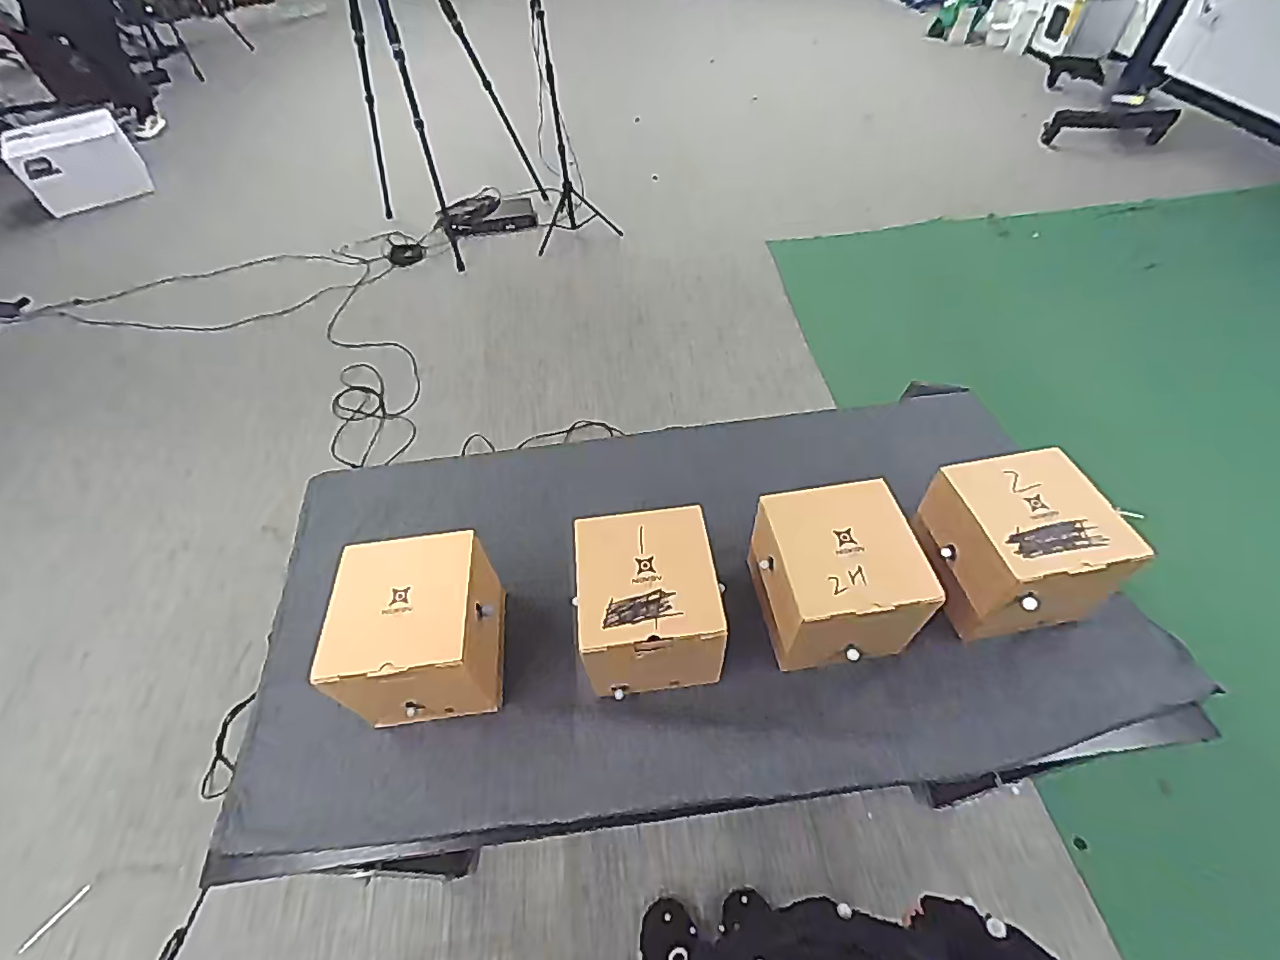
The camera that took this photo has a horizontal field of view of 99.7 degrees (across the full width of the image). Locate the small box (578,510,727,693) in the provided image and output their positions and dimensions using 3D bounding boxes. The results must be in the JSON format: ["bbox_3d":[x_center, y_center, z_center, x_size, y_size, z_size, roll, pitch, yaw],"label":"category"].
[{"bbox_3d":[0.014,0.164,0.700,0.168,0.176,0.179,-6,51,-1],"label":"small box"}]

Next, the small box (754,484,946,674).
[{"bbox_3d":[0.253,0.132,0.708,0.168,0.176,0.179,-9,52,-1],"label":"small box"}]

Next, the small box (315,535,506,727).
[{"bbox_3d":[-0.273,0.195,0.694,0.168,0.176,0.179,-7,51,-3],"label":"small box"}]
